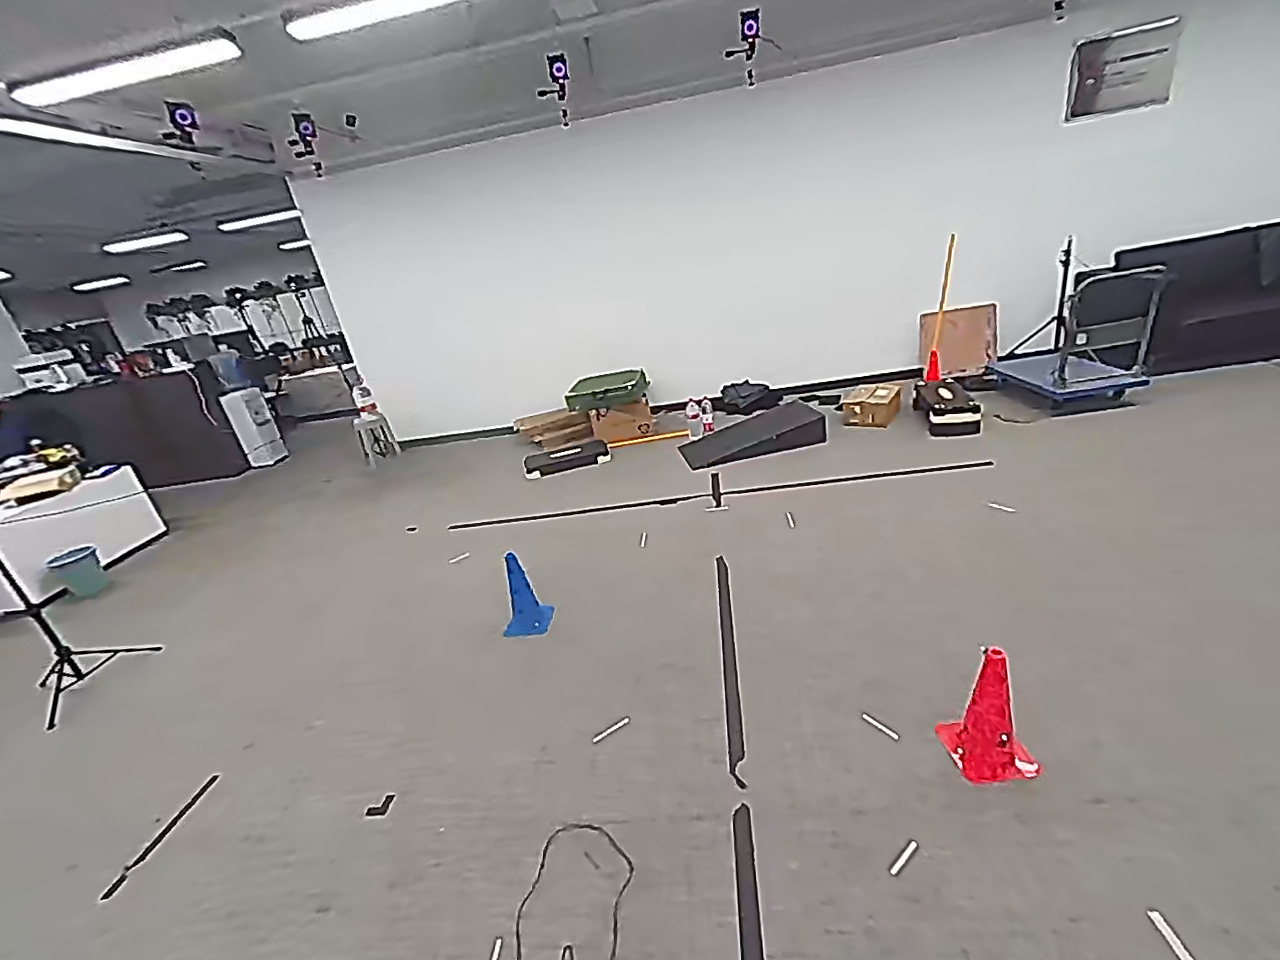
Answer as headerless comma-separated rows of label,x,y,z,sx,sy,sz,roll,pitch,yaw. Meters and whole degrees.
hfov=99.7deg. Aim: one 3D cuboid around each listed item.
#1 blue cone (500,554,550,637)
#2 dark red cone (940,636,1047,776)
blue cone,-0.539,0.491,2.380,0.192,0.380,0.193,-8,23,9
dark red cone,0.951,0.580,1.447,0.201,0.394,0.202,-11,23,2
